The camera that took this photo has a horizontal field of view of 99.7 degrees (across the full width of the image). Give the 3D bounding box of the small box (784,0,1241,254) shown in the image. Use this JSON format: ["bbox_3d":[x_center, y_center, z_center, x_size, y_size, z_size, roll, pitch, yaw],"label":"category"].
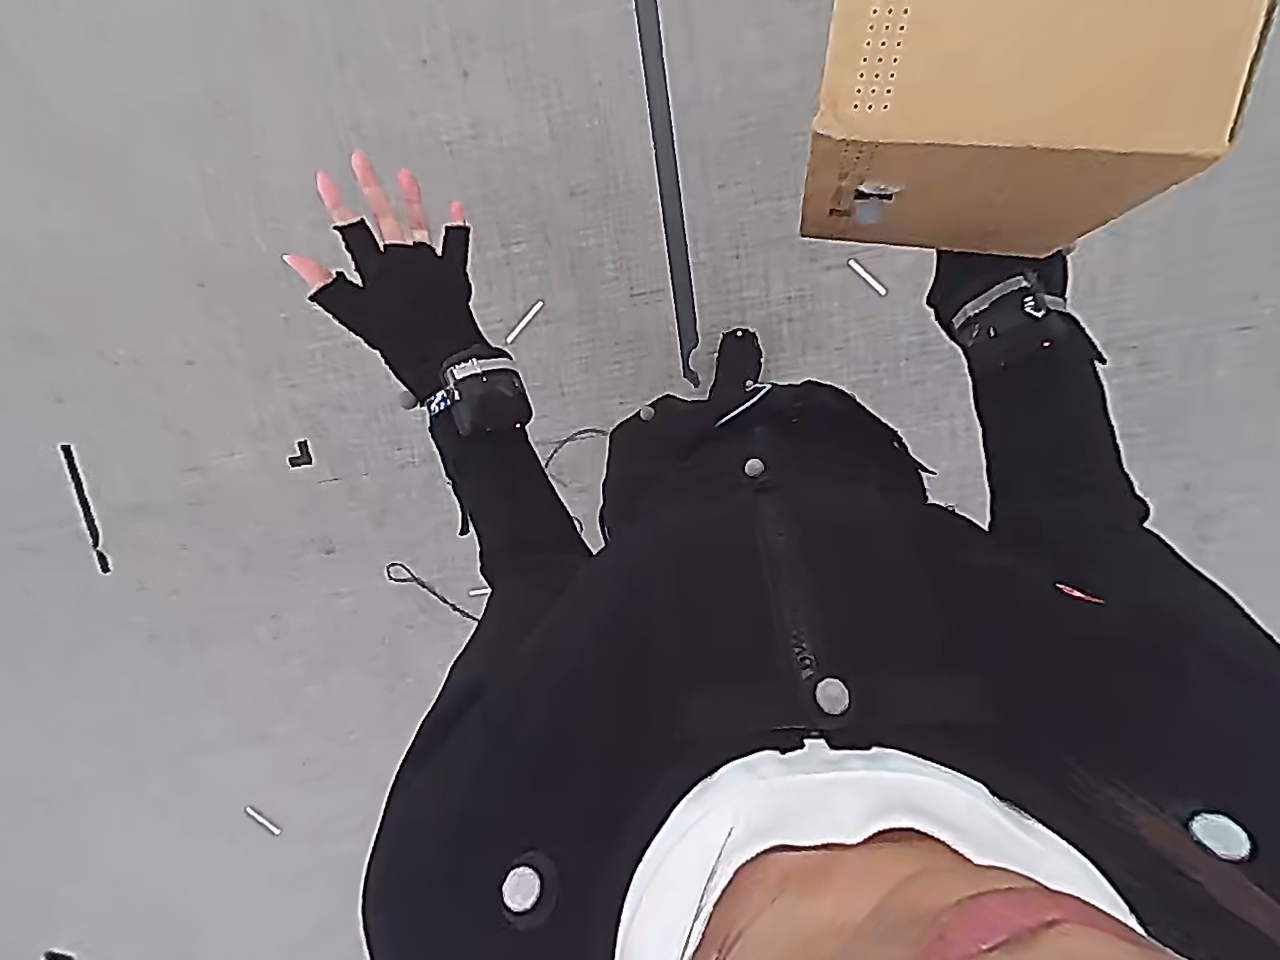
[{"bbox_3d":[0.183,-0.246,0.307,0.176,0.168,0.179,11,101,14],"label":"small box"}]
